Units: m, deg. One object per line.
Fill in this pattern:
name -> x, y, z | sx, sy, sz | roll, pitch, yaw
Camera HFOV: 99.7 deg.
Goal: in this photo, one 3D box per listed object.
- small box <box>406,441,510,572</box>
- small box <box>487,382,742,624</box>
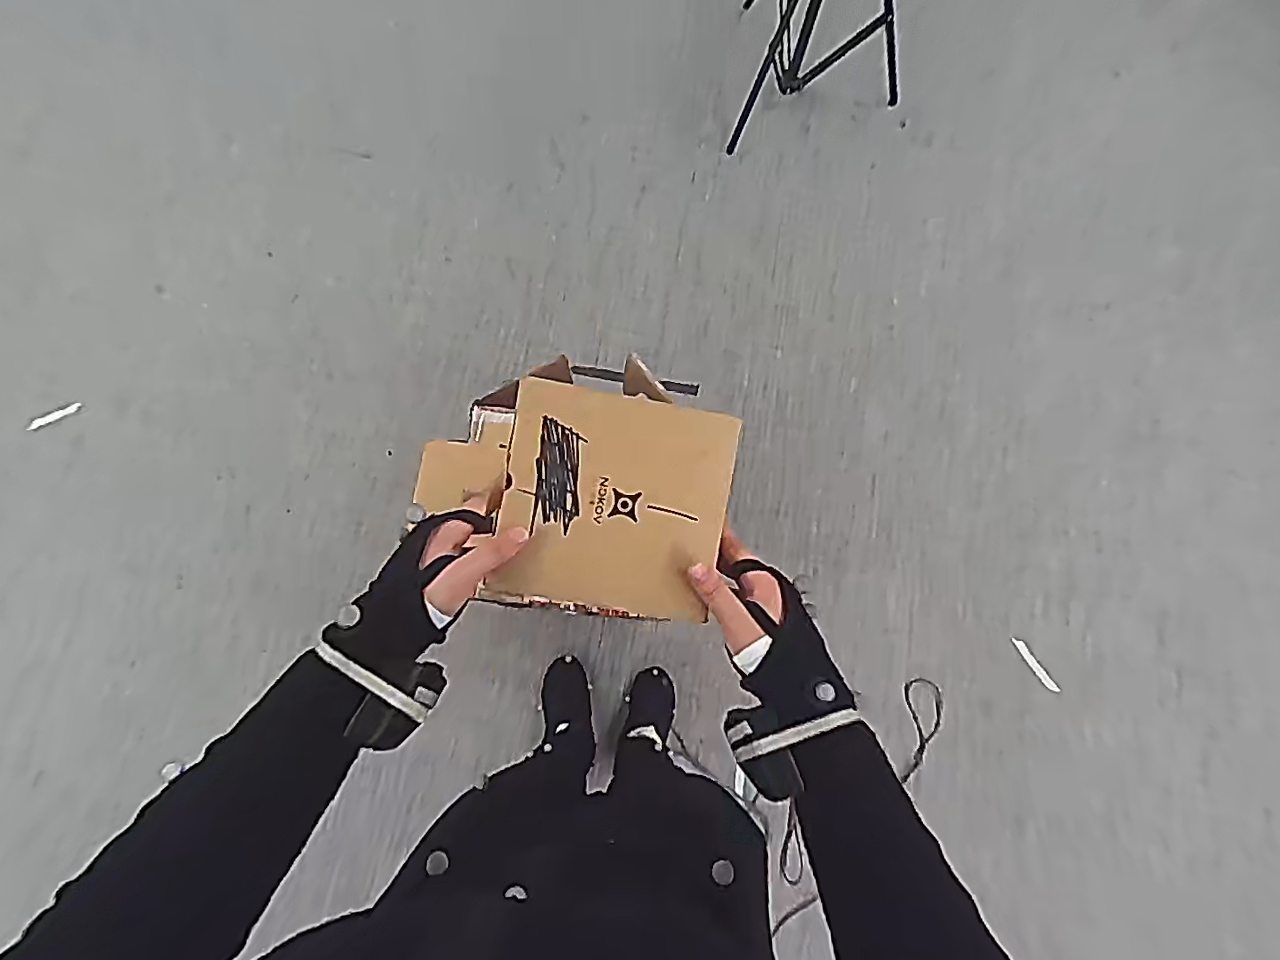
small box -> -0.232, 0.052, 0.838 | 0.168, 0.176, 0.179 | 7, 81, 2
small box -> -0.023, 0.018, 0.499 | 0.179, 0.176, 0.168 | 10, 90, -4
